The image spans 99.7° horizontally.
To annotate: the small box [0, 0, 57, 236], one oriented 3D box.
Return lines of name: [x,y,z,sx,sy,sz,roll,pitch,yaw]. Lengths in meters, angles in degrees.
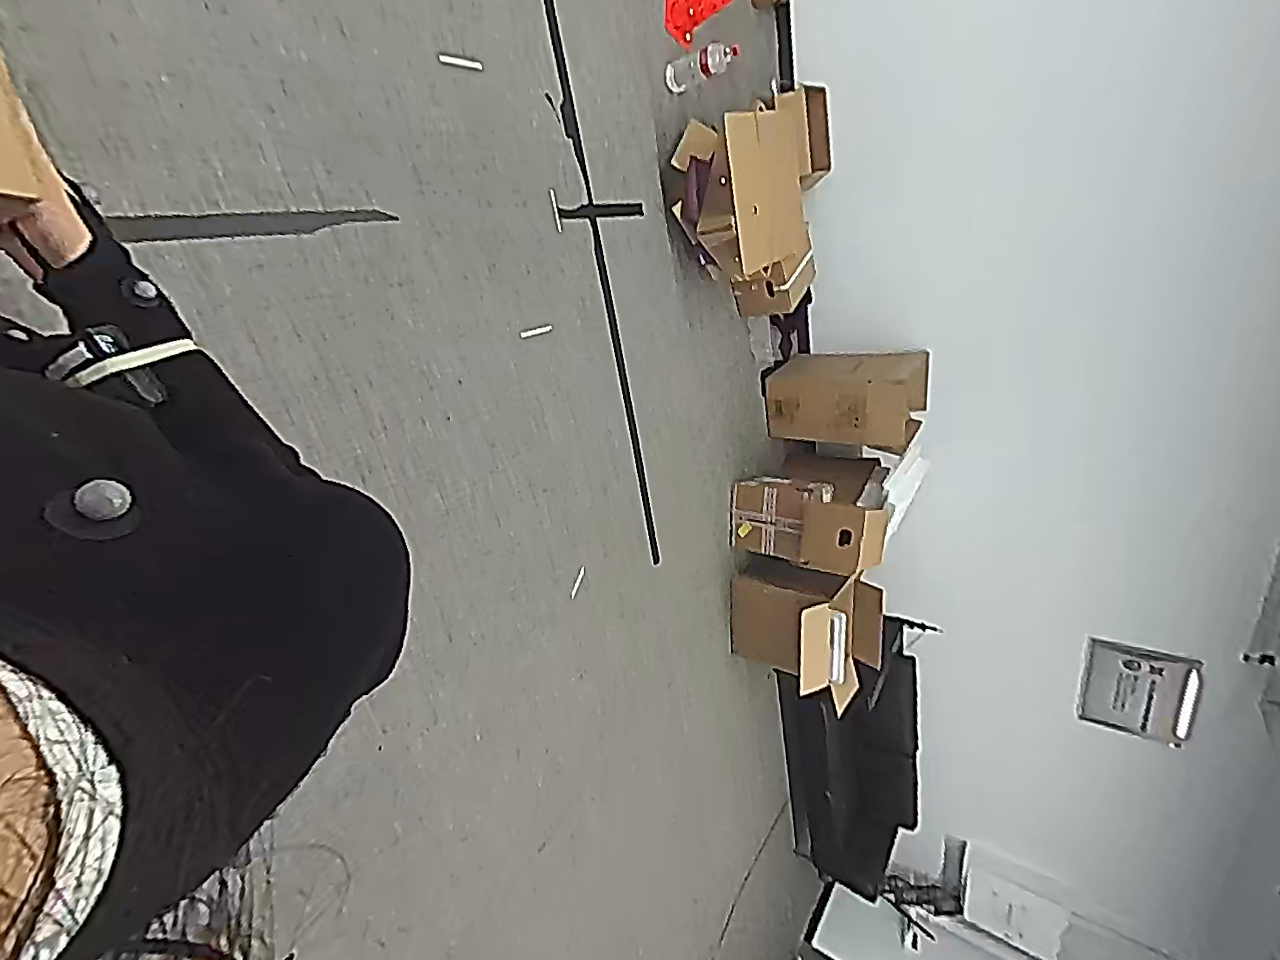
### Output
small box: [-0.448,-0.219,0.256,0.168,0.176,0.179,-28,115,-62]

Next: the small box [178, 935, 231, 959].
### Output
small box: [-1.030,1.224,1.245,0.179,0.176,0.168,-34,121,-46]
